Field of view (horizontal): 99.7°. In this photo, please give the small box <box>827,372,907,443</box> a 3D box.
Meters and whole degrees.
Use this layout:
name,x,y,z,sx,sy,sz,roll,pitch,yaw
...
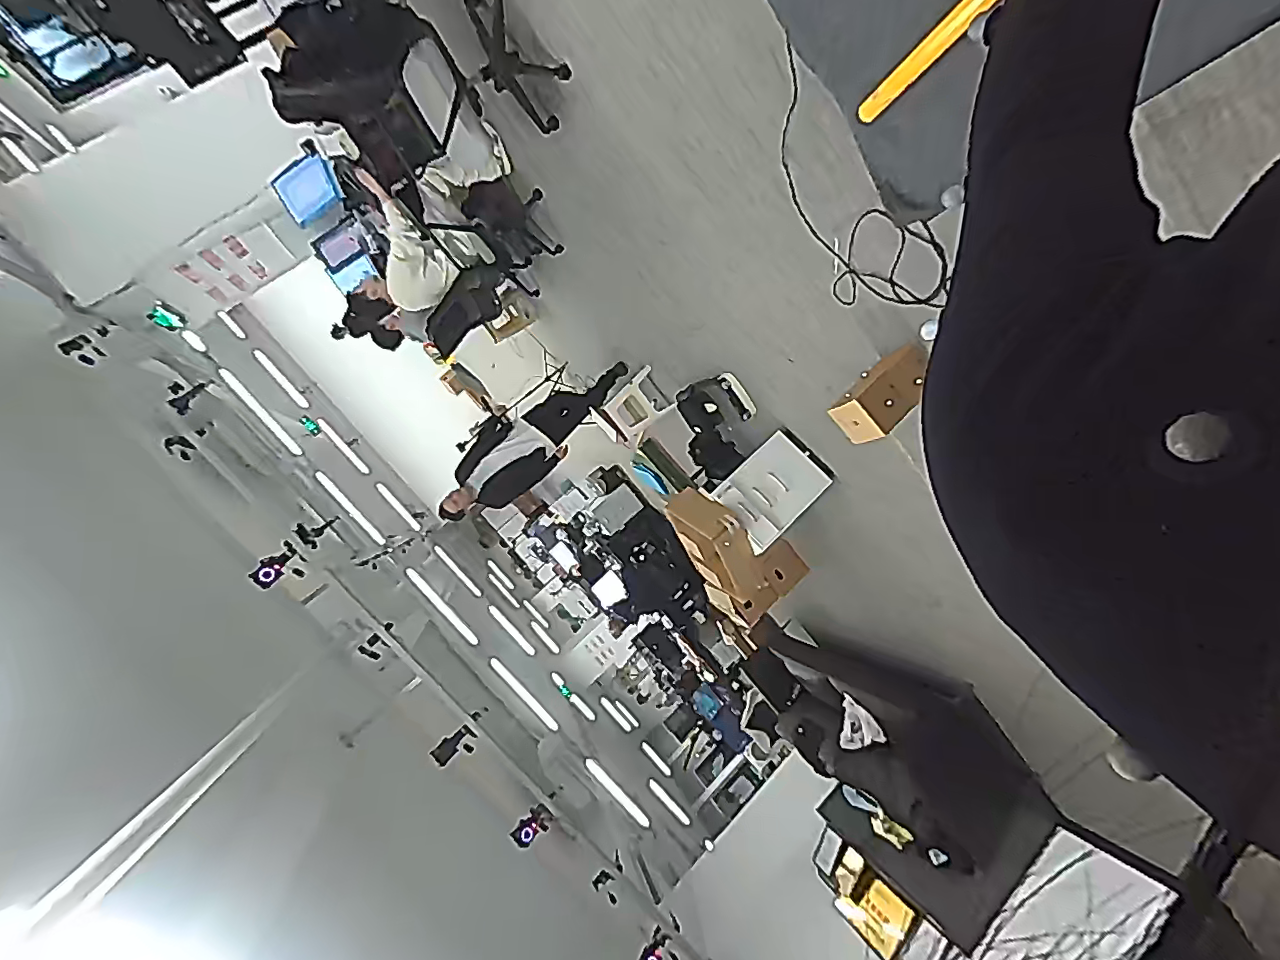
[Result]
name,x,y,z,sx,sy,sz,roll,pitch,yaw
small box,0.811,-0.258,1.916,0.168,0.176,0.179,49,167,-4

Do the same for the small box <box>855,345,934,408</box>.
name,x,y,z,sx,sy,sz,roll,pitch,yaw
small box,0.930,-0.362,1.963,0.168,0.176,0.179,49,166,-6
